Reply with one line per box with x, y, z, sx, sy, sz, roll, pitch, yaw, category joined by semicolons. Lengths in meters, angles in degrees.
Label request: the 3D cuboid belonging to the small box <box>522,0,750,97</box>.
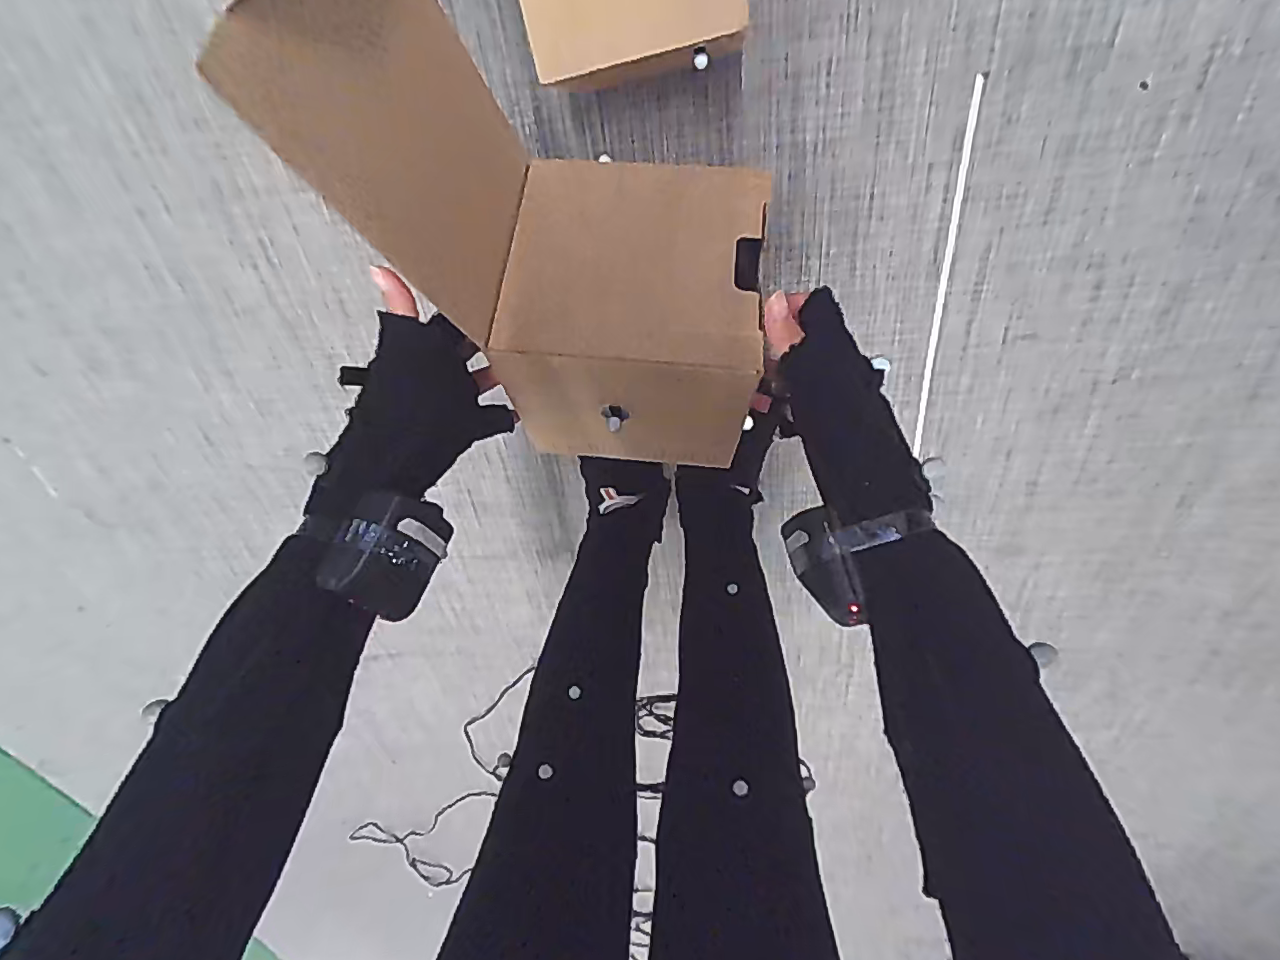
-0.003;-0.448;0.464;0.179;0.176;0.168;-7;122;12;small box

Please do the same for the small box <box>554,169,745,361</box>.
0.018;-0.241;0.594;0.179;0.176;0.168;3;124;6;small box
